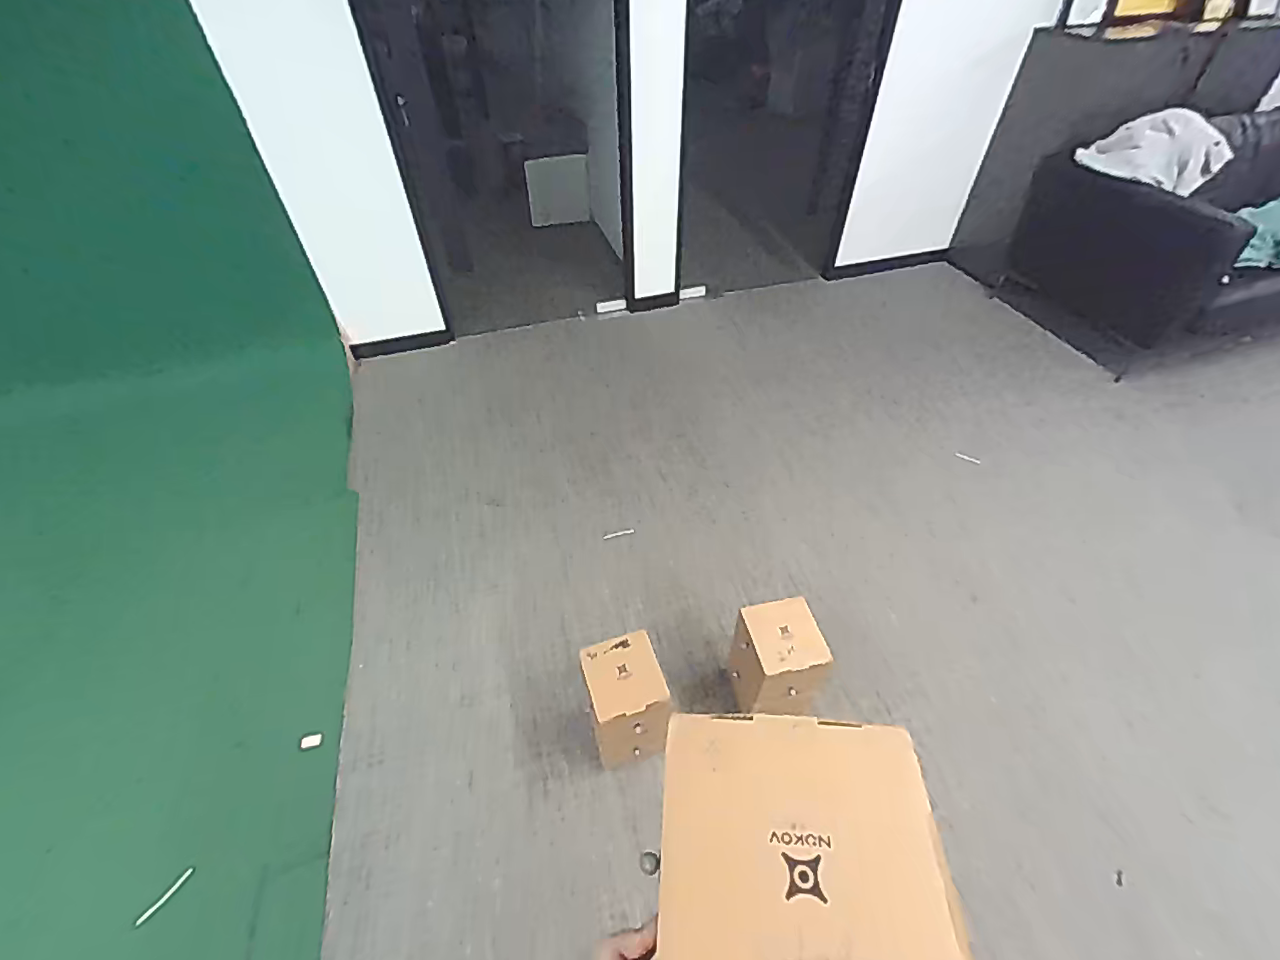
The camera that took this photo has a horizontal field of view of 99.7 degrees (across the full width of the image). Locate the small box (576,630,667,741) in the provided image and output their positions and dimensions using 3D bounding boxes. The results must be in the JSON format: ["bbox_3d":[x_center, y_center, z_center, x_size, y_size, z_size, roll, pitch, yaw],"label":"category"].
[{"bbox_3d":[-0.043,0.483,1.254,0.168,0.176,0.179,-14,49,-13],"label":"small box"}]

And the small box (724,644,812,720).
[{"bbox_3d":[0.329,0.529,1.438,0.168,0.176,0.179,-7,48,-7],"label":"small box"}]

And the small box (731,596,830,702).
[{"bbox_3d":[0.332,0.413,1.320,0.168,0.176,0.179,-9,48,-8],"label":"small box"}]

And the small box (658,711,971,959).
[{"bbox_3d":[0.098,0.285,0.370,0.168,0.176,0.179,2,43,5],"label":"small box"}]
